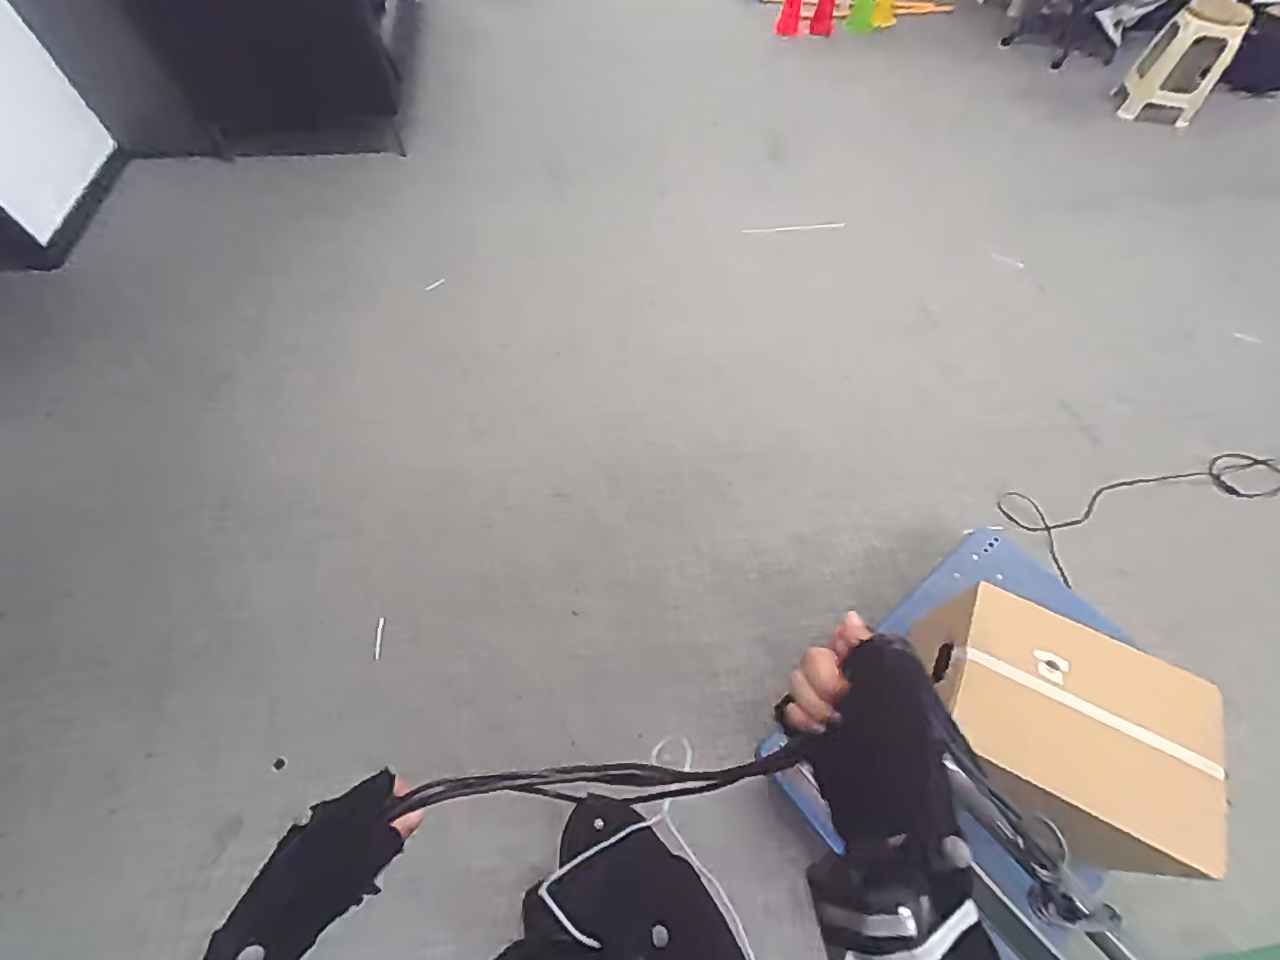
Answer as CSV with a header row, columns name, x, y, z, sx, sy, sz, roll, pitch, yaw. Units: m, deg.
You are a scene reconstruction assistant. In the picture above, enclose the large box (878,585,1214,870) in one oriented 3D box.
name,x,y,z,sx,sy,sz,roll,pitch,yaw
large box,0.747,0.467,1.044,0.408,0.320,0.320,25,61,15
